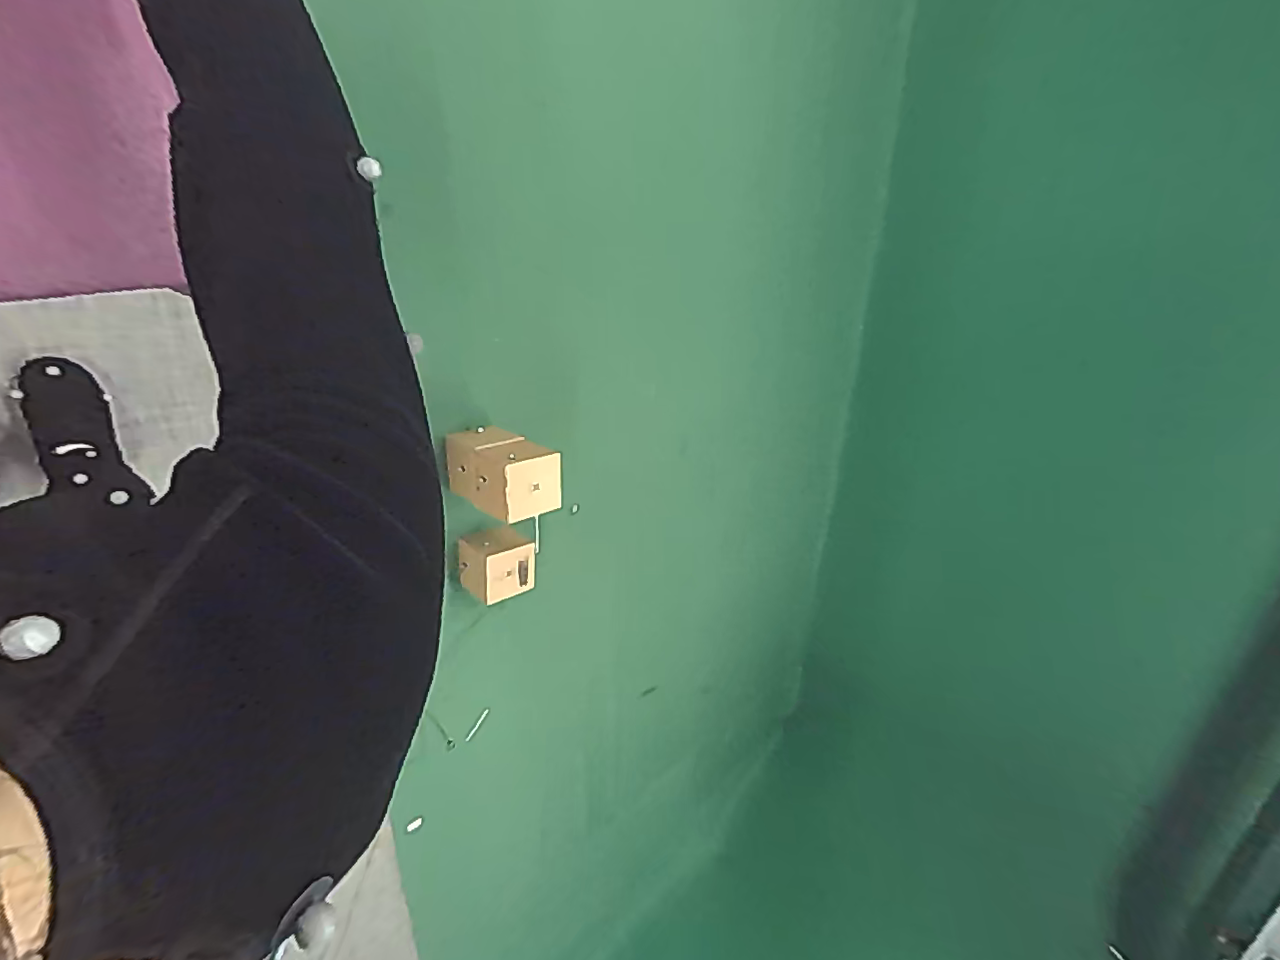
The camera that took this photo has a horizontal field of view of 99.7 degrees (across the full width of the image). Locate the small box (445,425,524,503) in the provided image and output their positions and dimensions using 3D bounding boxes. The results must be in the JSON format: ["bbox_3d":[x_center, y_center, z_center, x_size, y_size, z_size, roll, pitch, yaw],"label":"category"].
[{"bbox_3d":[-0.455,-0.053,1.594,0.168,0.176,0.179,-19,118,-43],"label":"small box"}]

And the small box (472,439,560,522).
[{"bbox_3d":[-0.341,-0.007,1.488,0.179,0.176,0.168,-18,118,-43],"label":"small box"}]
